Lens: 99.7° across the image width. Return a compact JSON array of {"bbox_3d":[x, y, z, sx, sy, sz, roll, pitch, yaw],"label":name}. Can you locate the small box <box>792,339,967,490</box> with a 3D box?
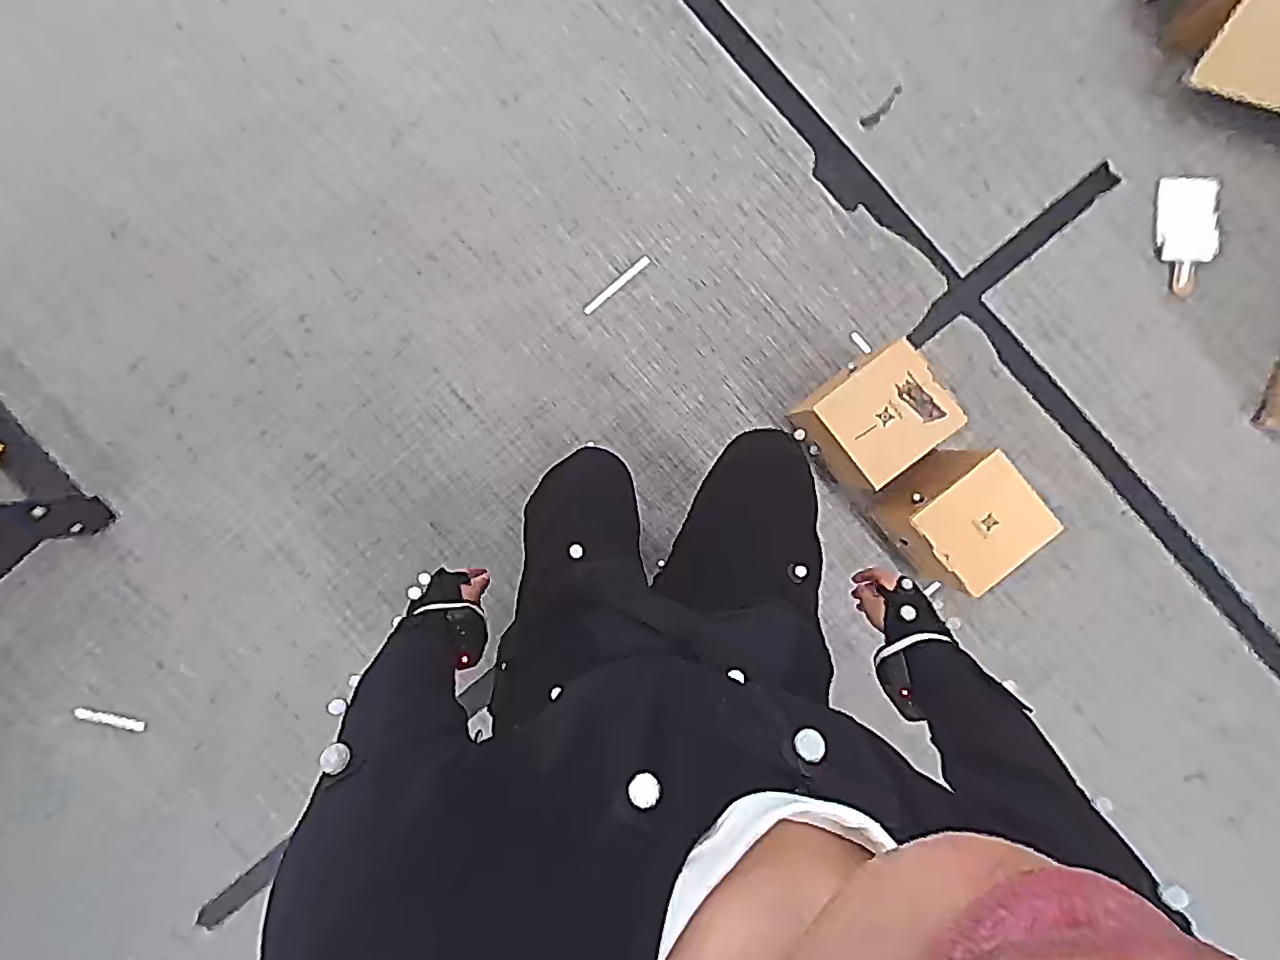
[{"bbox_3d":[0.383,-0.105,0.900,0.179,0.176,0.168,-38,92,3],"label":"small box"}]

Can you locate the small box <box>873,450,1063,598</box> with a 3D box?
[{"bbox_3d":[0.535,0.063,0.909,0.179,0.176,0.168,-40,92,3],"label":"small box"}]
